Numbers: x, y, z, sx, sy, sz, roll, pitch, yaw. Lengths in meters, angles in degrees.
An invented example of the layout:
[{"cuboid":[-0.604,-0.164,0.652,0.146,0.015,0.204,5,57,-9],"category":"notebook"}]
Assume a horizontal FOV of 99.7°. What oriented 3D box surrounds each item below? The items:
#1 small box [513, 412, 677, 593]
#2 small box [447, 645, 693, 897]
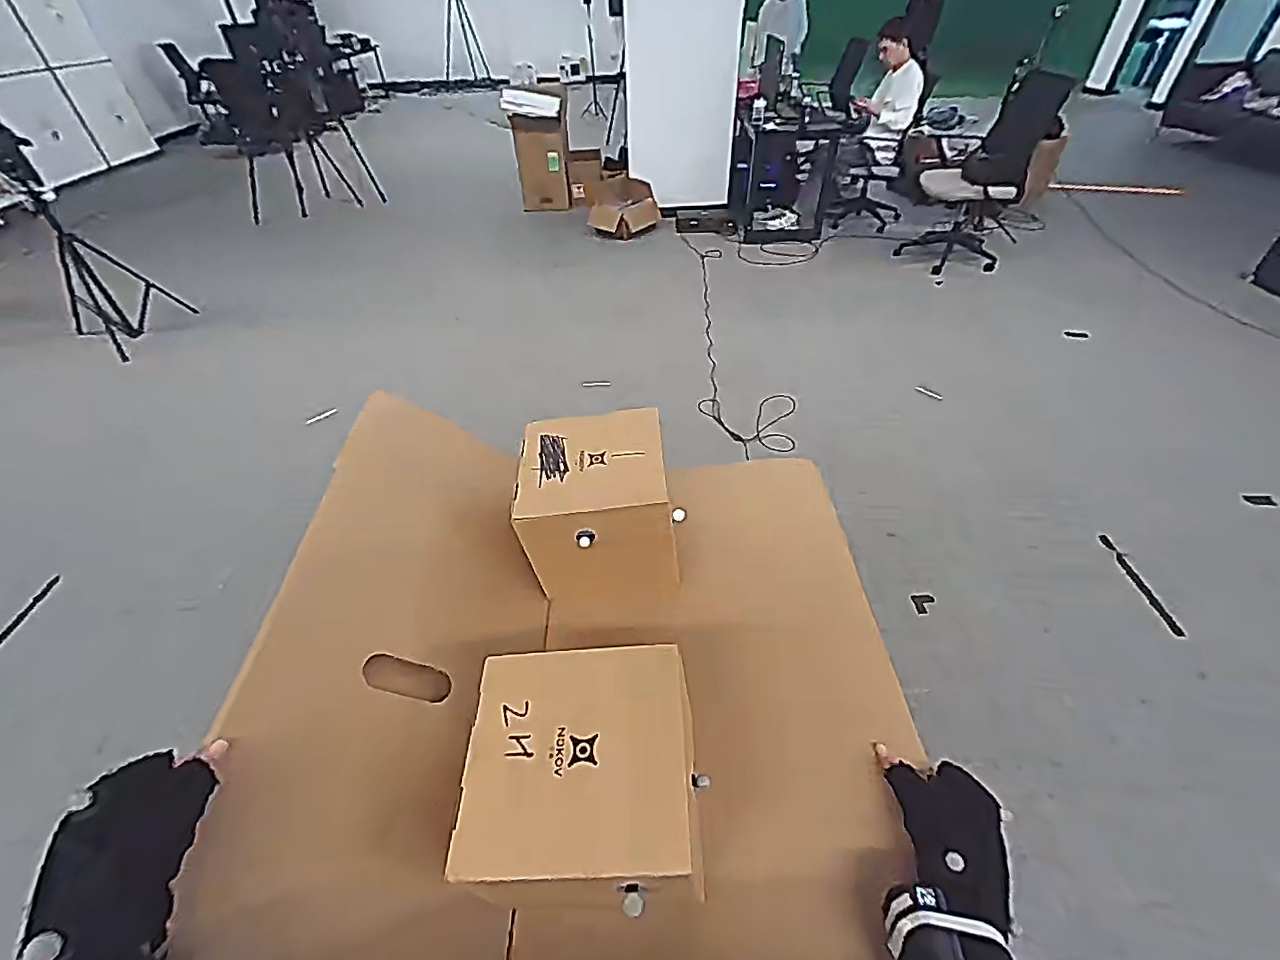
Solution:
[{"cuboid":[-0.049,0.035,0.714,0.179,0.176,0.168,-6,46,3],"category":"small box"},{"cuboid":[-0.043,0.266,0.493,0.179,0.176,0.168,-5,46,6],"category":"small box"}]
